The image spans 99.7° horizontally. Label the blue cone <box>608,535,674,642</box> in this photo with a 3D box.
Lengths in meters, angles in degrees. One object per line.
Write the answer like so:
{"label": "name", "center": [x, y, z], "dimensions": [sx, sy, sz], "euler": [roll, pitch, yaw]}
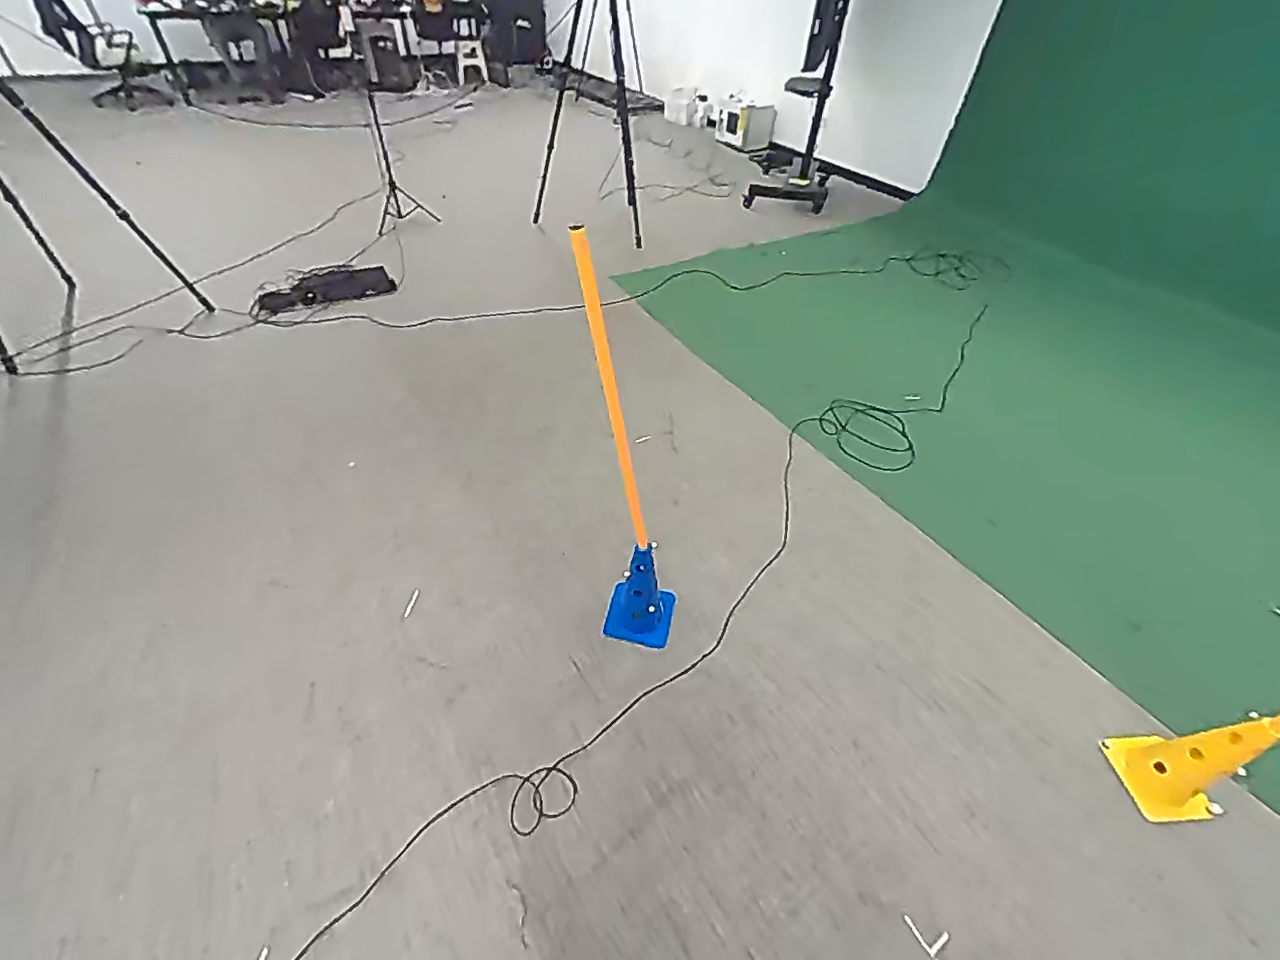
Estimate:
{"label": "blue cone", "center": [0.006, 0.295, 1.559], "dimensions": [0.193, 0.380, 0.192], "euler": [9, 46, 7]}
